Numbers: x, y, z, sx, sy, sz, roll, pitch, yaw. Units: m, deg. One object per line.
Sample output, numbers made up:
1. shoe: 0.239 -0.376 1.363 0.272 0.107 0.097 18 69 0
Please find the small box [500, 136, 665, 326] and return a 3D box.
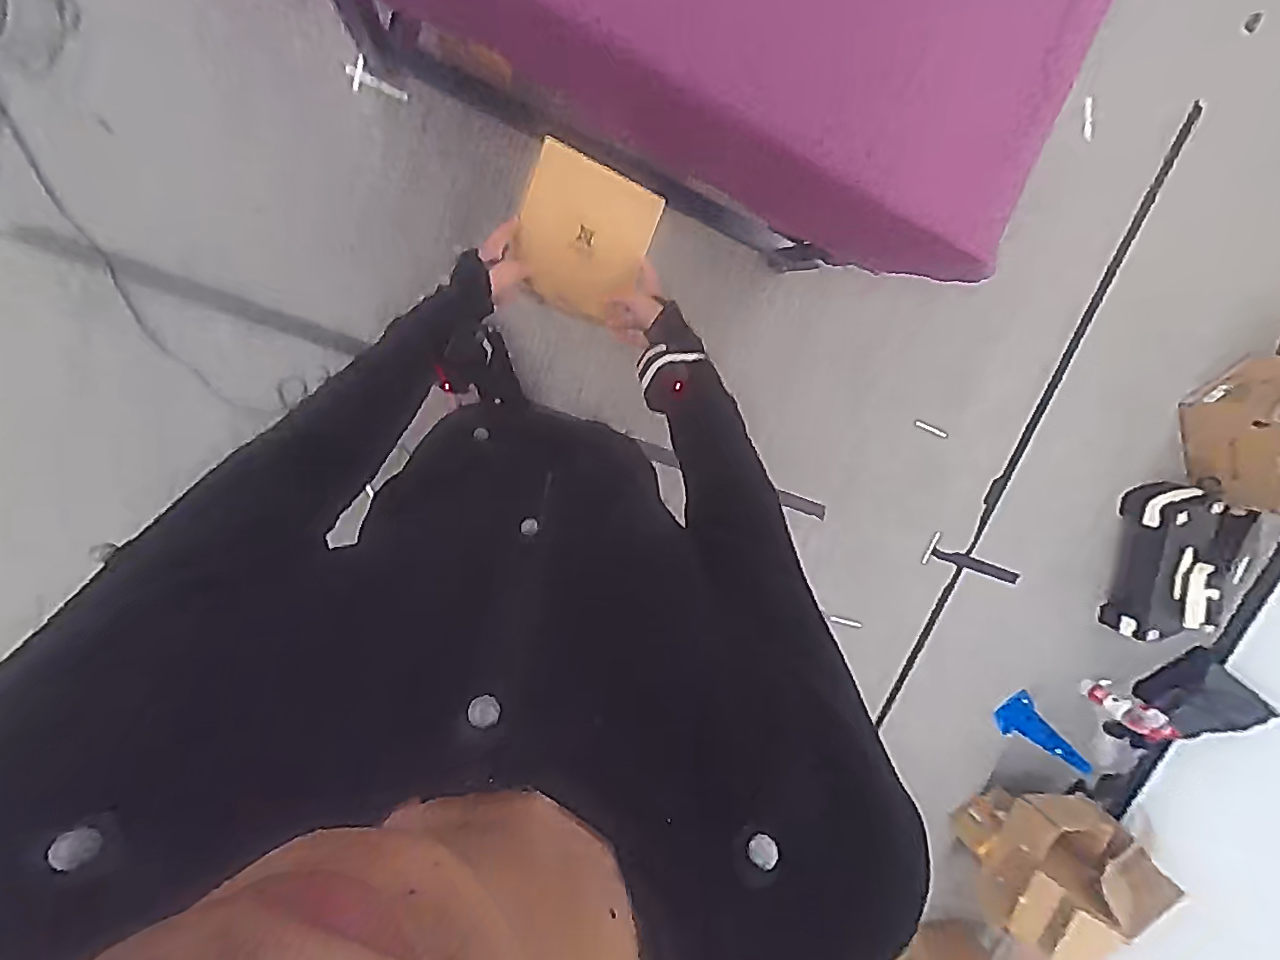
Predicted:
1. small box: -0.092 -0.332 0.755 0.168 0.176 0.179 17 103 -21
